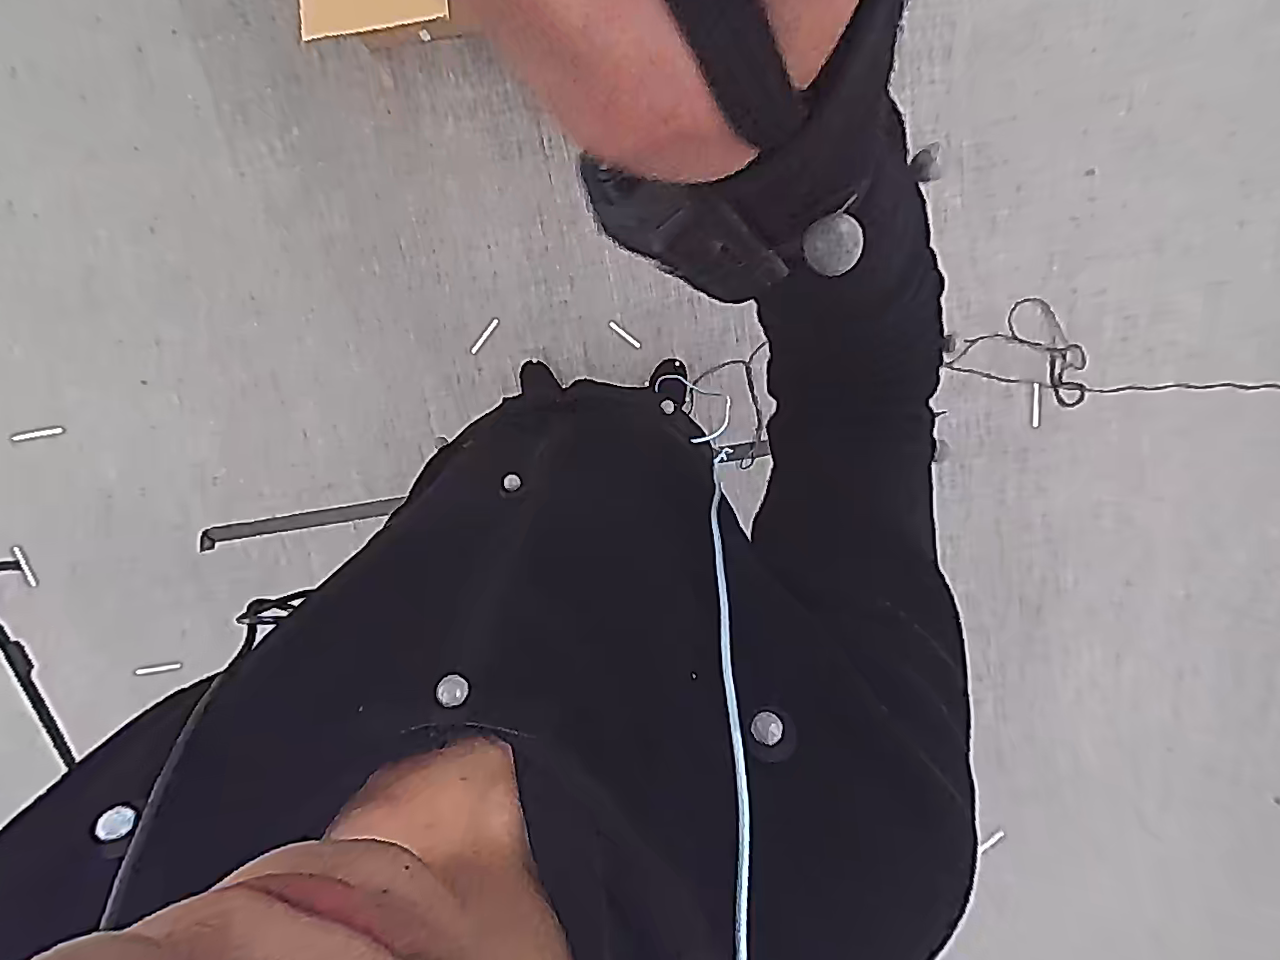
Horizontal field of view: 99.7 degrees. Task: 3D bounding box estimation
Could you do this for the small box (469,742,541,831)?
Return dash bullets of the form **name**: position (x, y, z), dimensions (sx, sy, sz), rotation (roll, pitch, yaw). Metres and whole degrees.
- **small box**: position (-0.411, 0.937, 1.671), dimensions (0.168, 0.176, 0.179), rotation (-8, 105, 2)
